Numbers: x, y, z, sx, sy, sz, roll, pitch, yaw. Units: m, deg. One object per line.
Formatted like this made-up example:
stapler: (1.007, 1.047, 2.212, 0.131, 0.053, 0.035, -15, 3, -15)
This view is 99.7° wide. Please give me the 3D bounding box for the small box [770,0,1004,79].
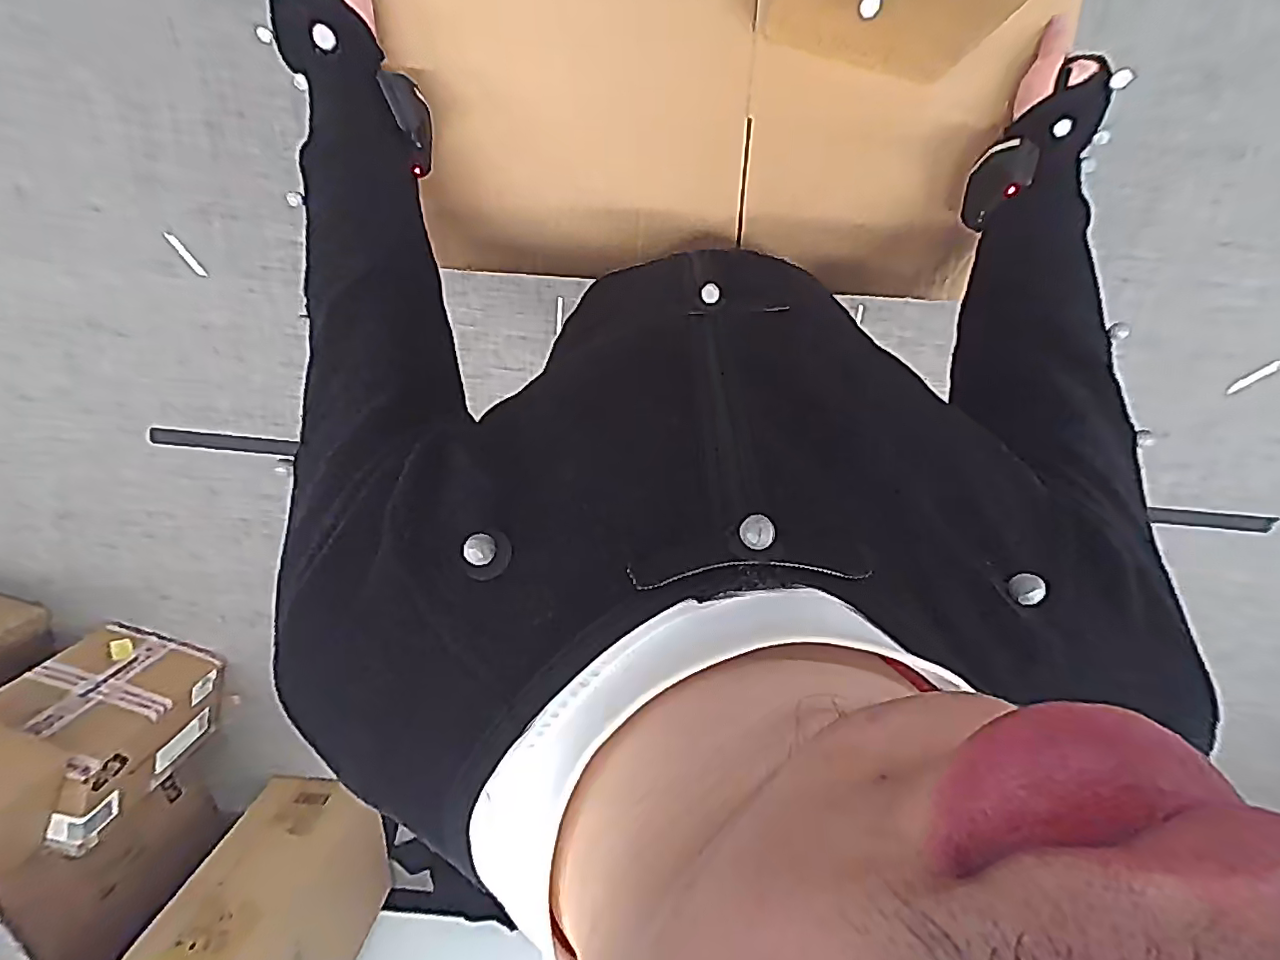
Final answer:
small box: (0.218, -0.461, 0.428, 0.179, 0.176, 0.168, 14, 104, -2)
